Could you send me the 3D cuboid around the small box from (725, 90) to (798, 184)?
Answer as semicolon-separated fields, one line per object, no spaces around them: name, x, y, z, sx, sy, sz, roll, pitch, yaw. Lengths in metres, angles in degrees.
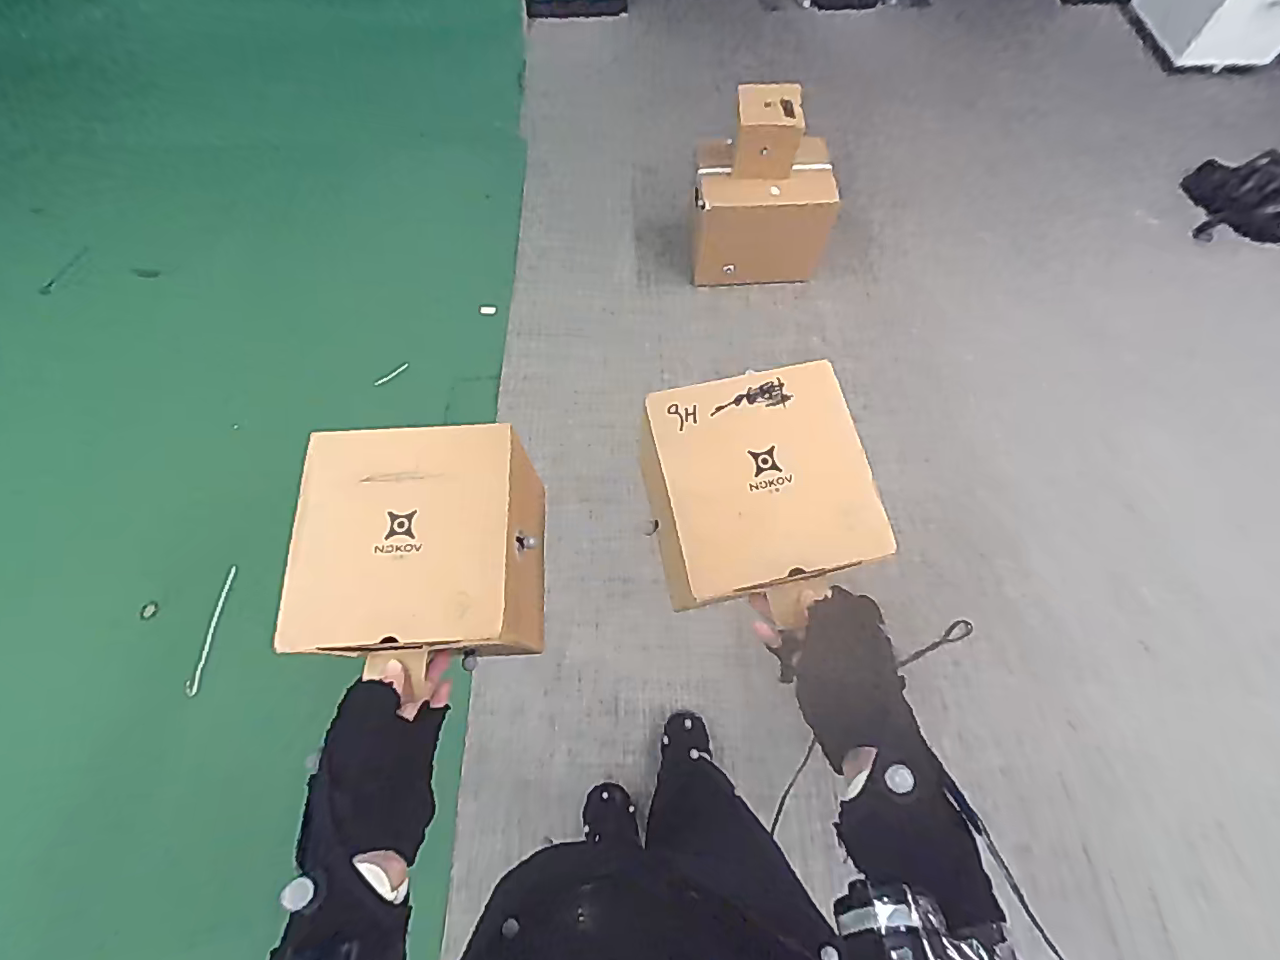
small box;0.352;-0.997;1.581;0.179;0.176;0.168;4;68;2

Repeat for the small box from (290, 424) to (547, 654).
small box;-0.180;0.065;0.500;0.168;0.176;0.179;-3;68;-2

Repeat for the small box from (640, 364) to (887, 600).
small box;0.098;0.015;0.520;0.168;0.176;0.179;-11;75;-6
